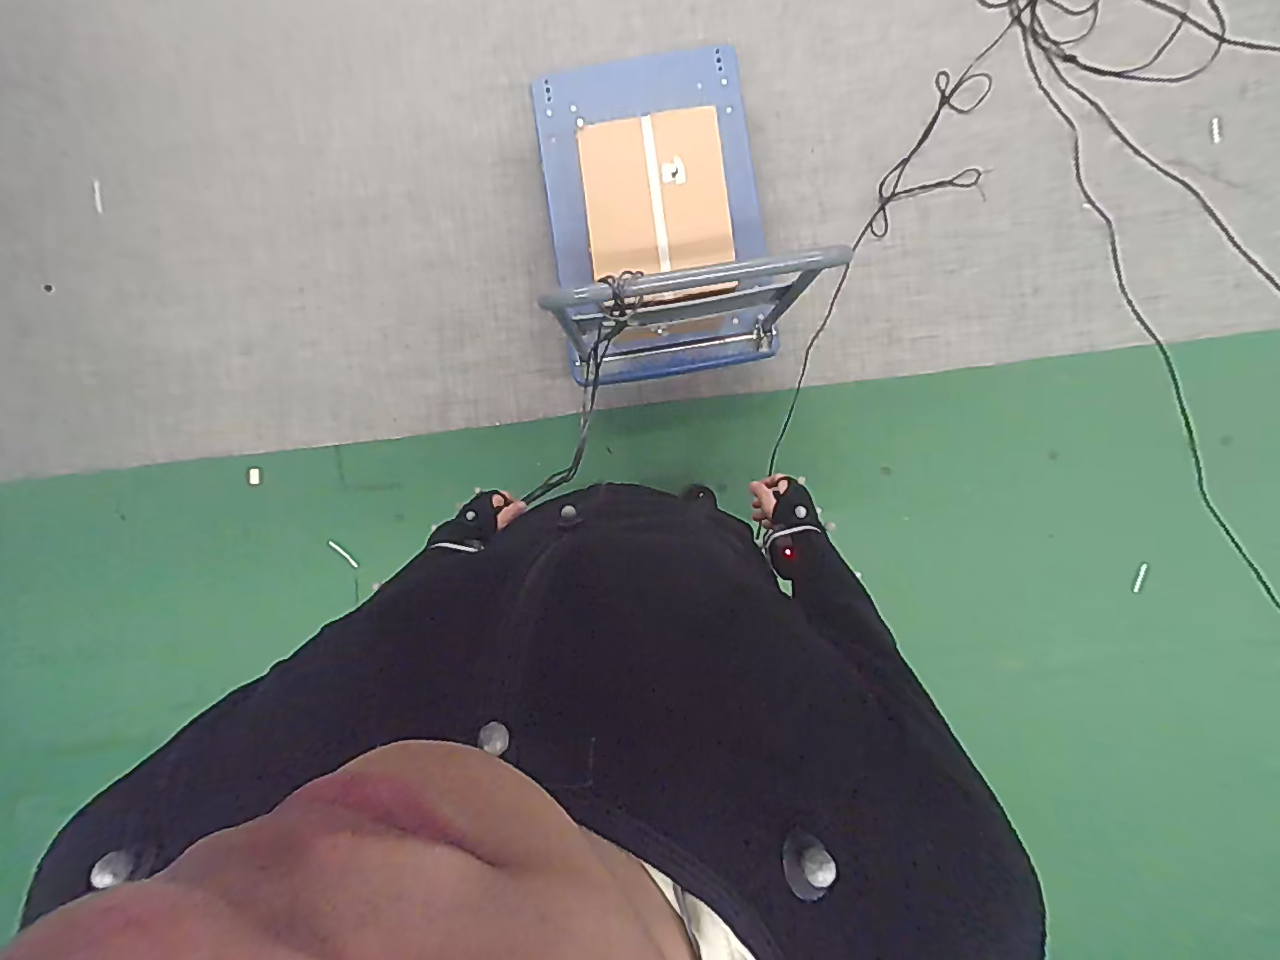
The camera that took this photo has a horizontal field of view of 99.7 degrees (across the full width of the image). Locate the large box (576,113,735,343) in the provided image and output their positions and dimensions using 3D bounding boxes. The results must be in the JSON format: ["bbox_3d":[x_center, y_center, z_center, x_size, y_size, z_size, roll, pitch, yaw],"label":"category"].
[{"bbox_3d":[0.039,-0.595,1.344,0.320,0.320,0.408,-7,88,1],"label":"large box"}]
